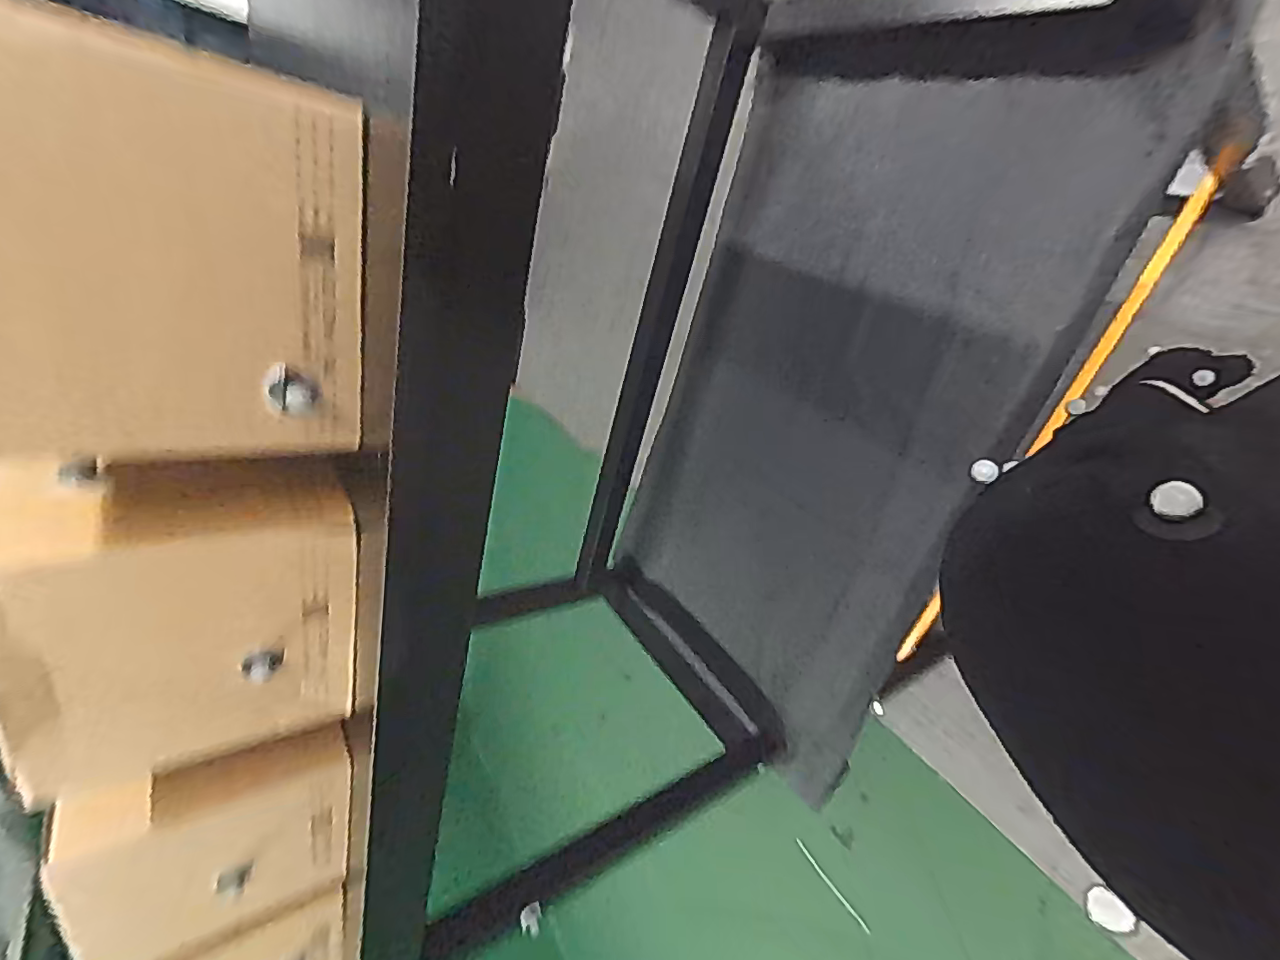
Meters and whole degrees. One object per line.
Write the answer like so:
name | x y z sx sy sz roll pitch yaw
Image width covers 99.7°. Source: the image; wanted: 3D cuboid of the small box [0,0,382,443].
small box | -0.244 -0.130 0.285 0.179 0.176 0.168 37 123 45
